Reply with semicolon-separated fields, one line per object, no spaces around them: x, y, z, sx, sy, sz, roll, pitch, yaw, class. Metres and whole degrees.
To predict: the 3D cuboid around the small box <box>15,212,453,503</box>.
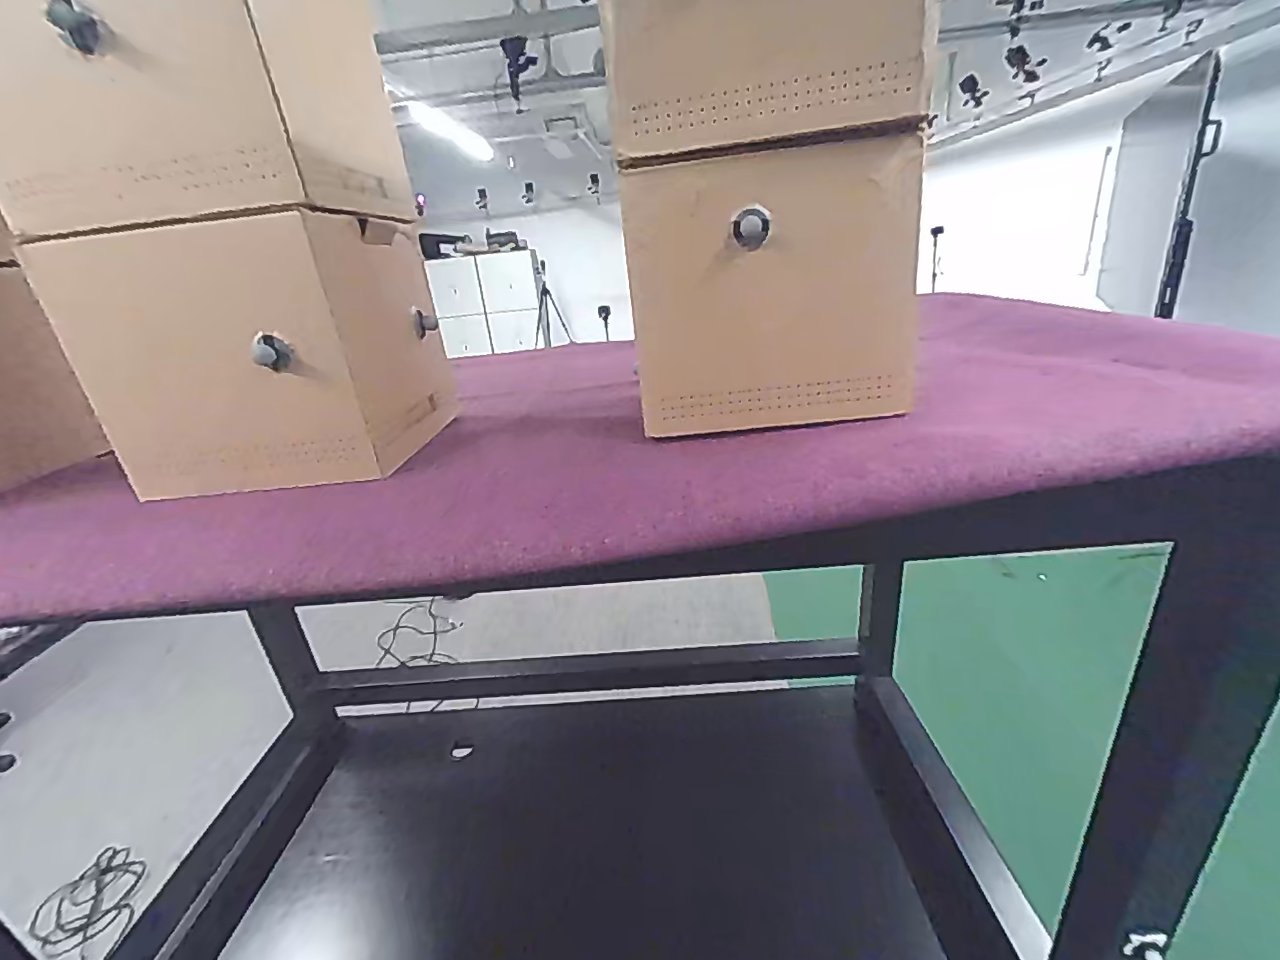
-0.262;-0.095;0.407;0.179;0.176;0.168;-6;22;3;small box

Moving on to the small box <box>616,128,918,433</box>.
0.085;-0.137;0.408;0.179;0.176;0.168;-4;20;5;small box

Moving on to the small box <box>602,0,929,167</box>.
0.070;-0.289;0.347;0.179;0.176;0.168;-4;21;8;small box
